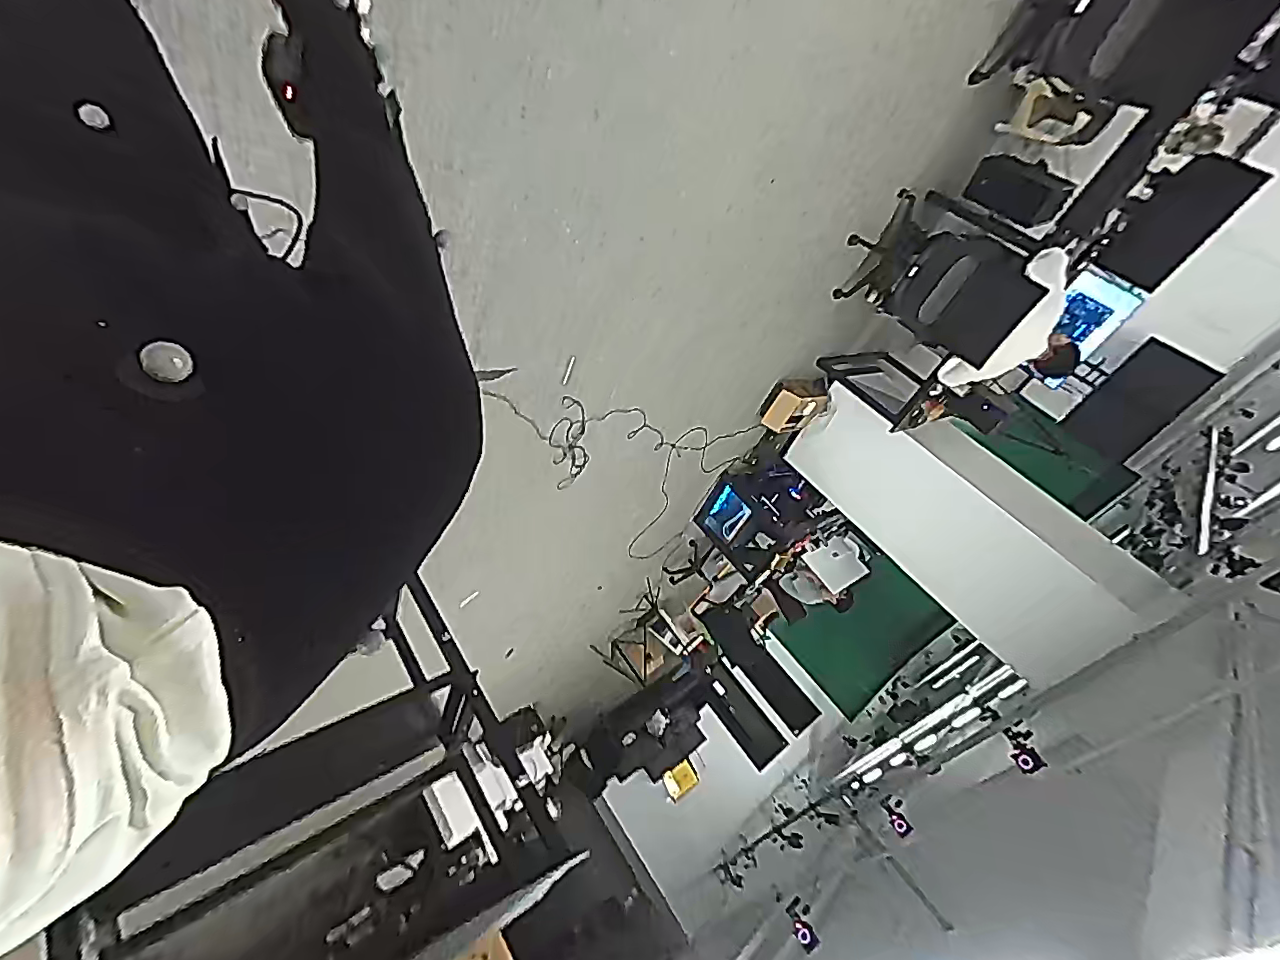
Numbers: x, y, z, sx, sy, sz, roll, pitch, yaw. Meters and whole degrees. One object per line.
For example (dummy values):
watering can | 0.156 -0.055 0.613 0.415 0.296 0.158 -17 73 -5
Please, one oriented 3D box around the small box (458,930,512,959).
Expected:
small box | -0.518 1.651 1.797 0.168 0.176 0.179 -17 143 -41
